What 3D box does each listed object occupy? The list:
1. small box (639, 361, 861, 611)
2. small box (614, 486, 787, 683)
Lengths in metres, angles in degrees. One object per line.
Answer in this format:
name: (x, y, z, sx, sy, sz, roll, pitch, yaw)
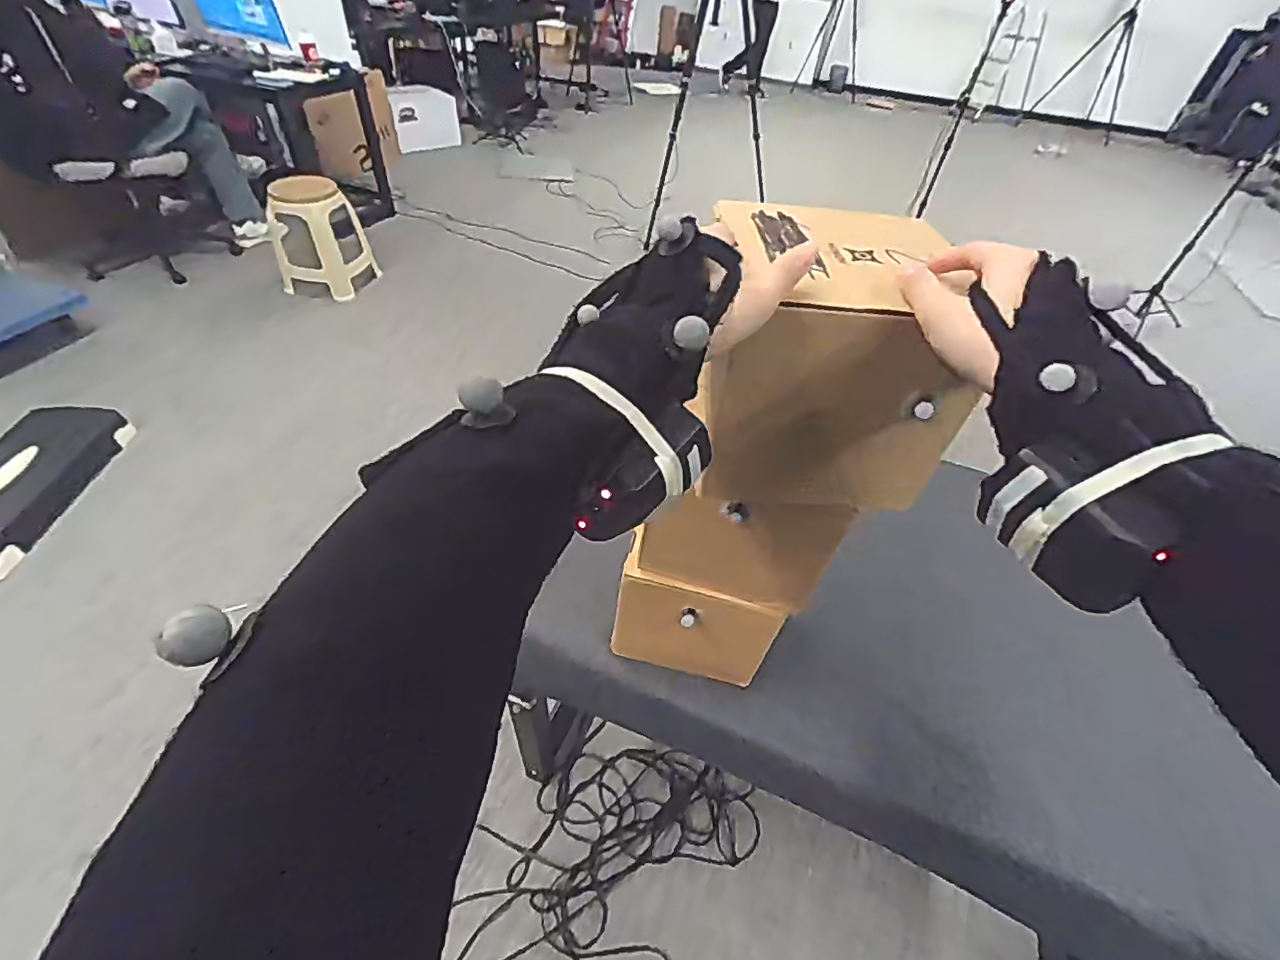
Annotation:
small box: (0.106, 0.008, 0.553, 0.179, 0.176, 0.168, 17, 46, 8)
small box: (0.074, 0.125, 0.662, 0.179, 0.176, 0.168, 13, 44, 6)
